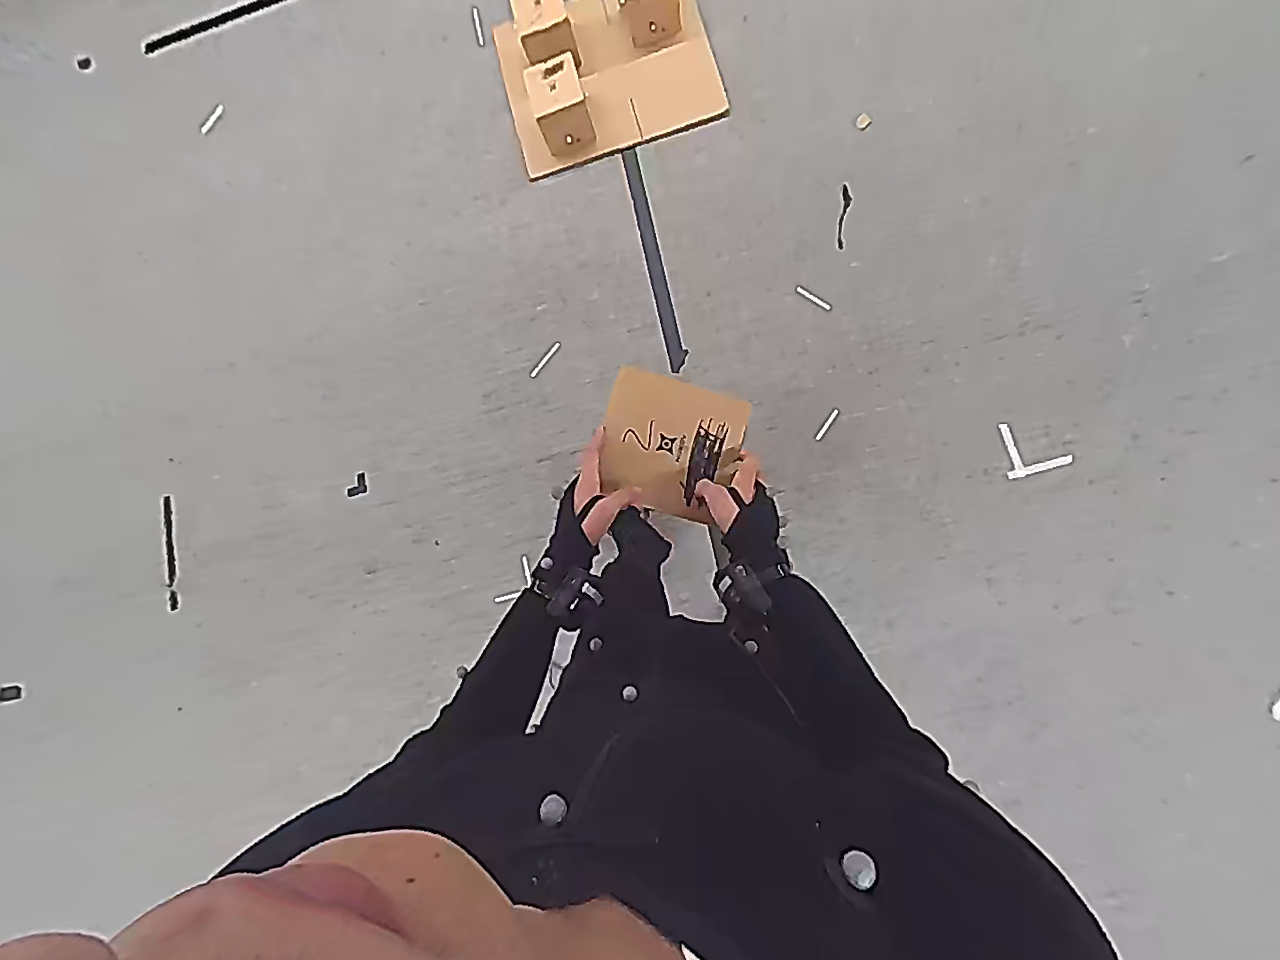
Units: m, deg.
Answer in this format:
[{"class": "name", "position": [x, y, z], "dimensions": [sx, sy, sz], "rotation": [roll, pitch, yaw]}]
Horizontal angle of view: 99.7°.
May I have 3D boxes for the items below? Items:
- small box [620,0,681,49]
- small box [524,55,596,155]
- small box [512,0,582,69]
[{"class": "small box", "position": [0.027, -1.561, 1.746], "dimensions": [0.168, 0.176, 0.179], "rotation": [-19, 81, 6]}, {"class": "small box", "position": [-0.253, -1.197, 1.739], "dimensions": [0.168, 0.176, 0.179], "rotation": [-16, 82, 7]}, {"class": "small box", "position": [-0.305, -1.475, 1.777], "dimensions": [0.168, 0.176, 0.179], "rotation": [-16, 82, 7]}]
